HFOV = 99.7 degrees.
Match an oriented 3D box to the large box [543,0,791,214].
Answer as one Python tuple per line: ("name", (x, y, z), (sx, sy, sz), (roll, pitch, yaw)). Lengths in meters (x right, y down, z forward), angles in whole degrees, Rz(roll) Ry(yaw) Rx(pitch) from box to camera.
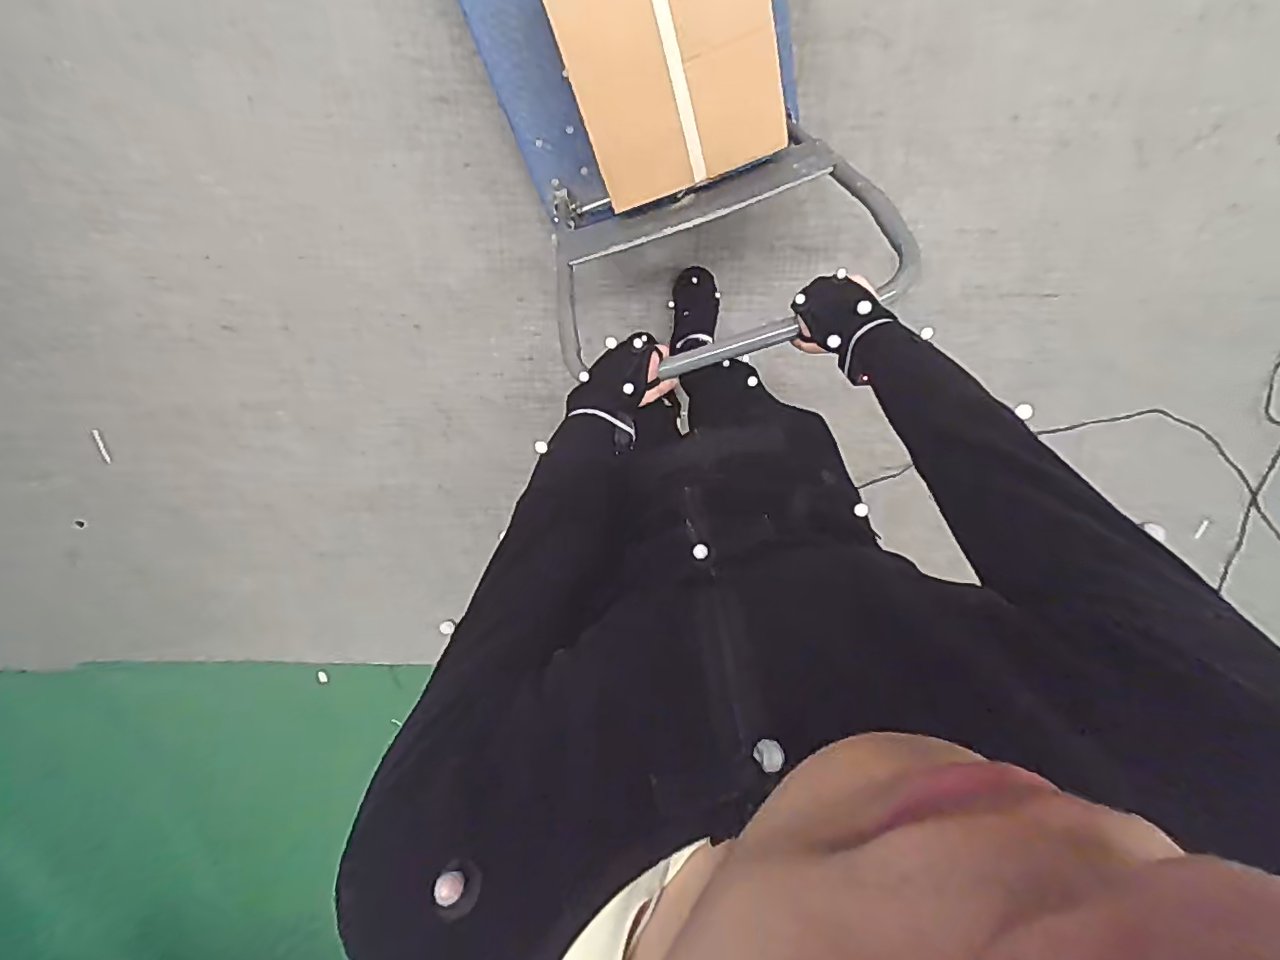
("large box", (0.034, -0.740, 0.909), (0.320, 0.320, 0.408), (-17, 130, 9))
